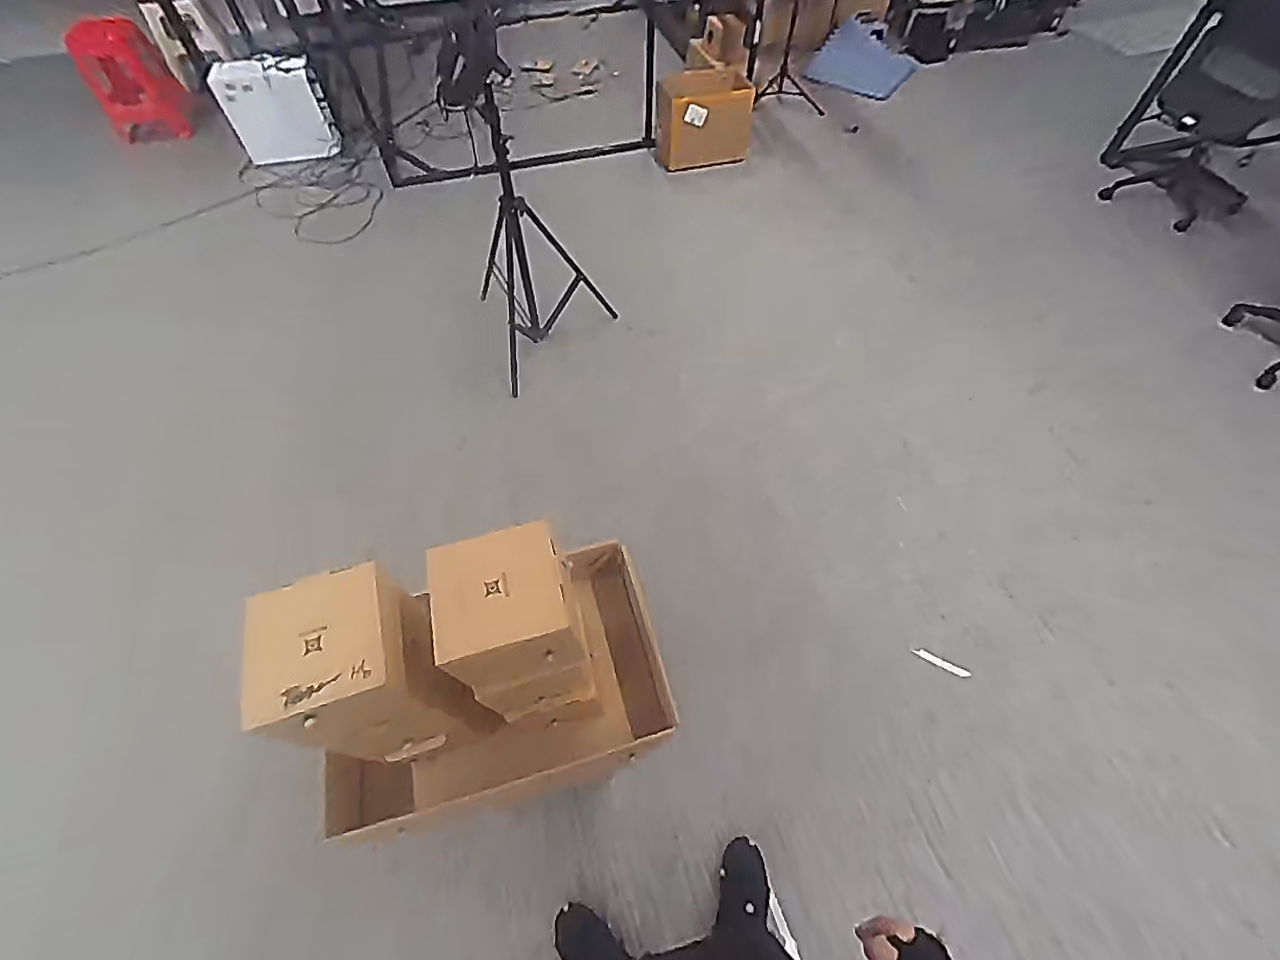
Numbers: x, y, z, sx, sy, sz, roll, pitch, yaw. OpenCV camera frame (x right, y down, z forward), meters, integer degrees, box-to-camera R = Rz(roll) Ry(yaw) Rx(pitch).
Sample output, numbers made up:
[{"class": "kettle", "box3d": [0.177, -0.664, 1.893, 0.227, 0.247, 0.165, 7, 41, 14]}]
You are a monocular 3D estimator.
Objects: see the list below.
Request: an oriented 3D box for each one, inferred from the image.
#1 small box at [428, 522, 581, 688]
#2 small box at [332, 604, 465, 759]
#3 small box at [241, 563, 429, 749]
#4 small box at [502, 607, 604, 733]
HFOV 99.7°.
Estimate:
[{"class": "small box", "box3d": [-0.188, 0.186, 0.788, 0.179, 0.176, 0.168, -15, 58, -5]}, {"class": "small box", "box3d": [-0.400, 0.334, 0.887, 0.168, 0.176, 0.179, -16, 59, -10]}, {"class": "small box", "box3d": [-0.407, 0.245, 0.747, 0.168, 0.176, 0.179, -17, 58, -9]}, {"class": "small box", "box3d": [-0.171, 0.374, 1.056, 0.168, 0.176, 0.179, -14, 59, -5]}]
